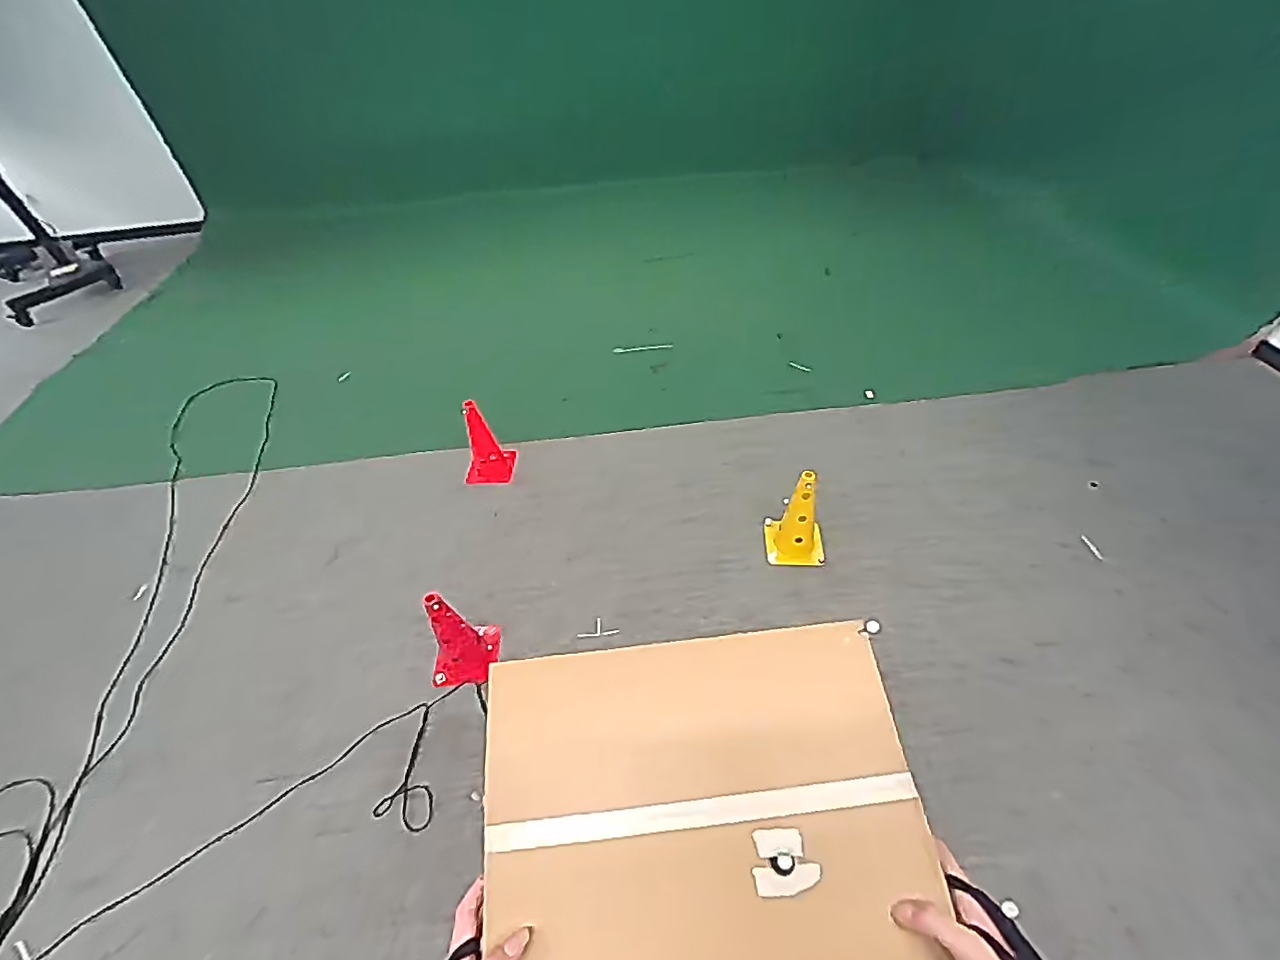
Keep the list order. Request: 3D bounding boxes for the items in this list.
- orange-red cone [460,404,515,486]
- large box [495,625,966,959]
[{"bbox_3d":[-0.671,-0.163,2.229,0.199,0.360,0.198,-2,46,5],"label":"orange-red cone"},{"bbox_3d":[0.065,0.389,0.642,0.408,0.320,0.320,-7,62,-1],"label":"large box"}]
